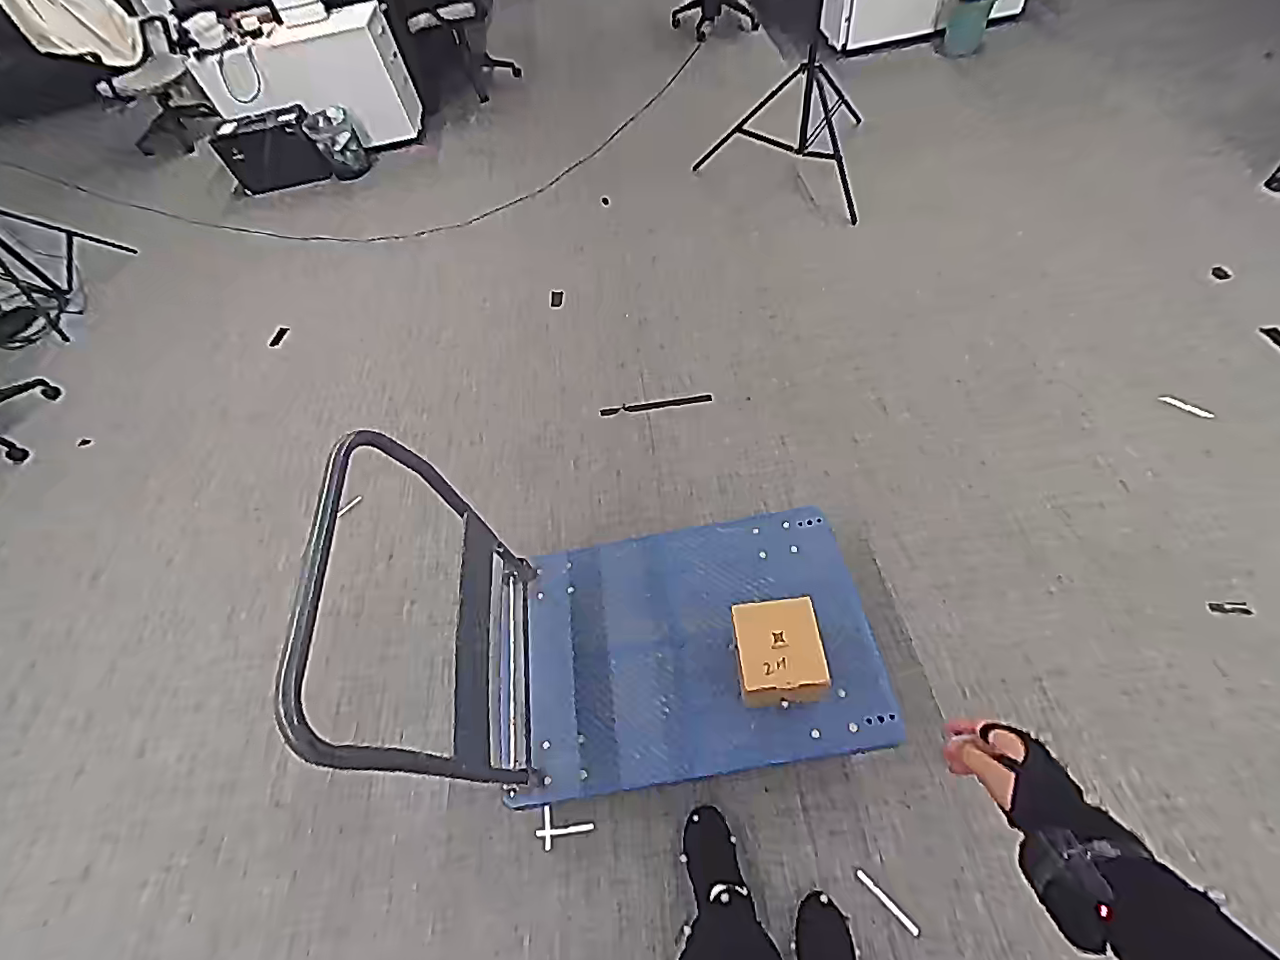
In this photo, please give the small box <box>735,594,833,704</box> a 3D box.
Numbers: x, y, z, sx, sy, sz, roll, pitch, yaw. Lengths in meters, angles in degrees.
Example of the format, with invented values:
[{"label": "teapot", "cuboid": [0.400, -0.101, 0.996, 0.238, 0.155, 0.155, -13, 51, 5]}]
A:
[{"label": "small box", "cuboid": [0.296, 0.363, 1.151, 0.168, 0.176, 0.179, -8, 56, 5]}]
